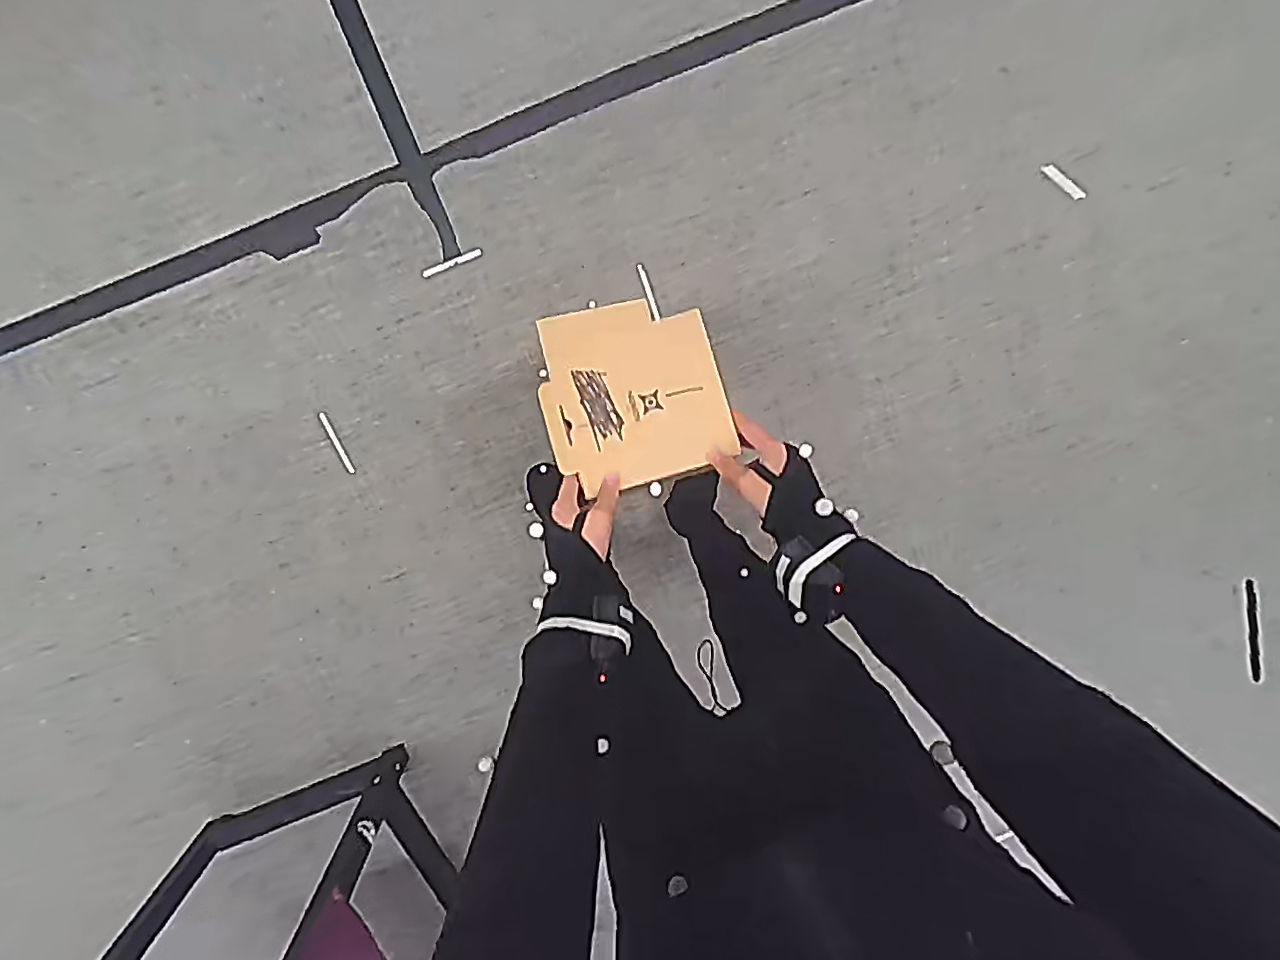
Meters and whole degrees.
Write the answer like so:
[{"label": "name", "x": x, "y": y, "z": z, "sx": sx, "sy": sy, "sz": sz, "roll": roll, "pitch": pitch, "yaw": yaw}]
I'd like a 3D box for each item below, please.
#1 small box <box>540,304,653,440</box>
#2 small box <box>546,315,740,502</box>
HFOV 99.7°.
[{"label": "small box", "x": -0.059, "y": -0.174, "z": 0.872, "sx": 0.168, "sy": 0.176, "sz": 0.179, "roll": -12, "pitch": 105, "yaw": -3}, {"label": "small box", "x": 0.004, "y": -0.072, "z": 0.653, "sx": 0.179, "sy": 0.176, "sz": 0.168, "roll": -16, "pitch": 88, "yaw": 0}]
